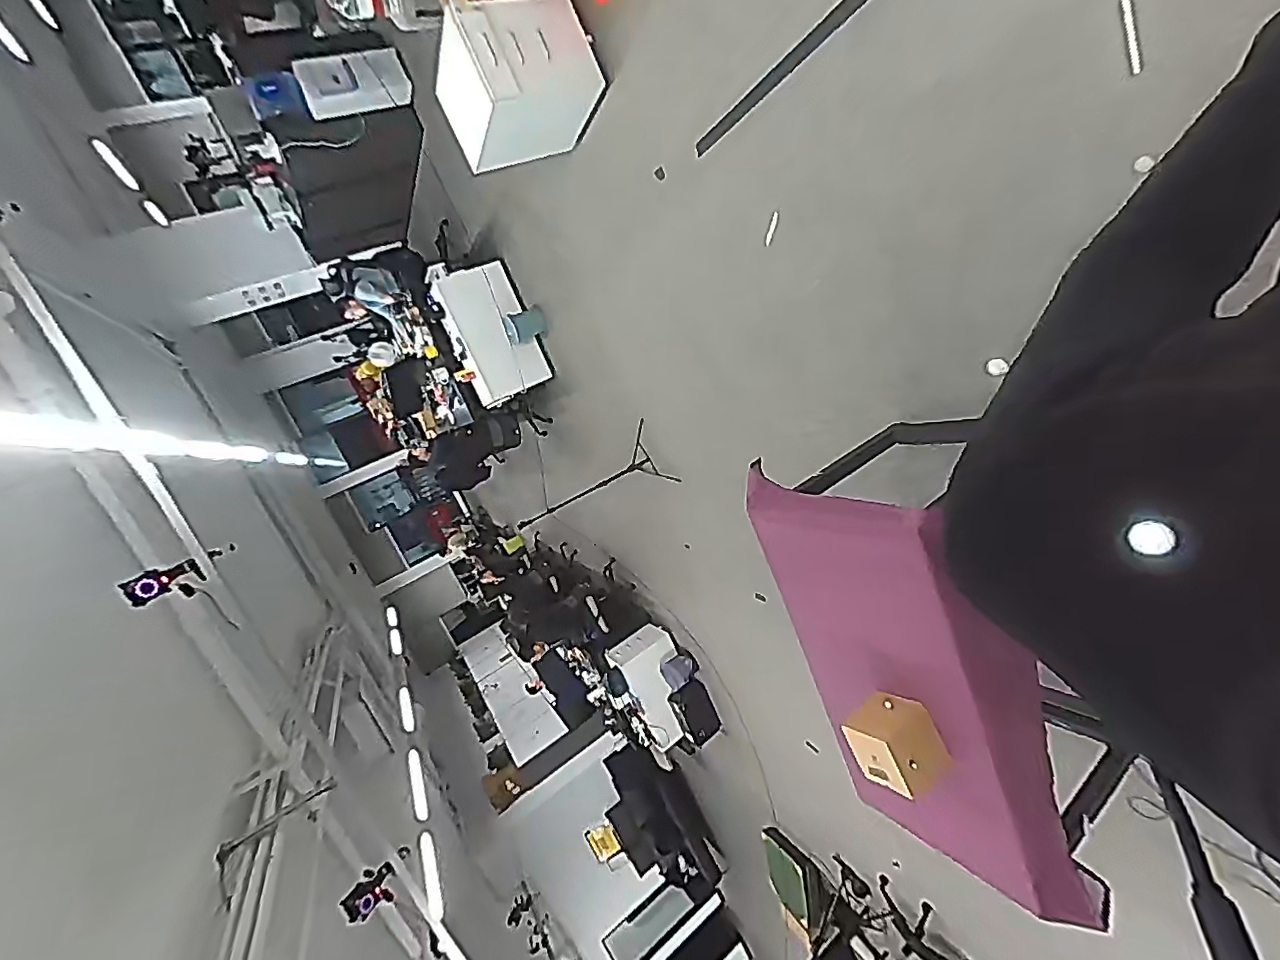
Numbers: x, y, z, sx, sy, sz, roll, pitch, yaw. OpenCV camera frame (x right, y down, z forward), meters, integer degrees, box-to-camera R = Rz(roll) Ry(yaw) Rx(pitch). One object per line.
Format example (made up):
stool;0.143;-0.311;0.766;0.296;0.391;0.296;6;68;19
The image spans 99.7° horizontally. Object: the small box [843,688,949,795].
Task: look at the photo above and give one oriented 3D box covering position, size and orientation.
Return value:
small box;0.707;0.710;1.487;0.179;0.176;0.168;63;157;-3
